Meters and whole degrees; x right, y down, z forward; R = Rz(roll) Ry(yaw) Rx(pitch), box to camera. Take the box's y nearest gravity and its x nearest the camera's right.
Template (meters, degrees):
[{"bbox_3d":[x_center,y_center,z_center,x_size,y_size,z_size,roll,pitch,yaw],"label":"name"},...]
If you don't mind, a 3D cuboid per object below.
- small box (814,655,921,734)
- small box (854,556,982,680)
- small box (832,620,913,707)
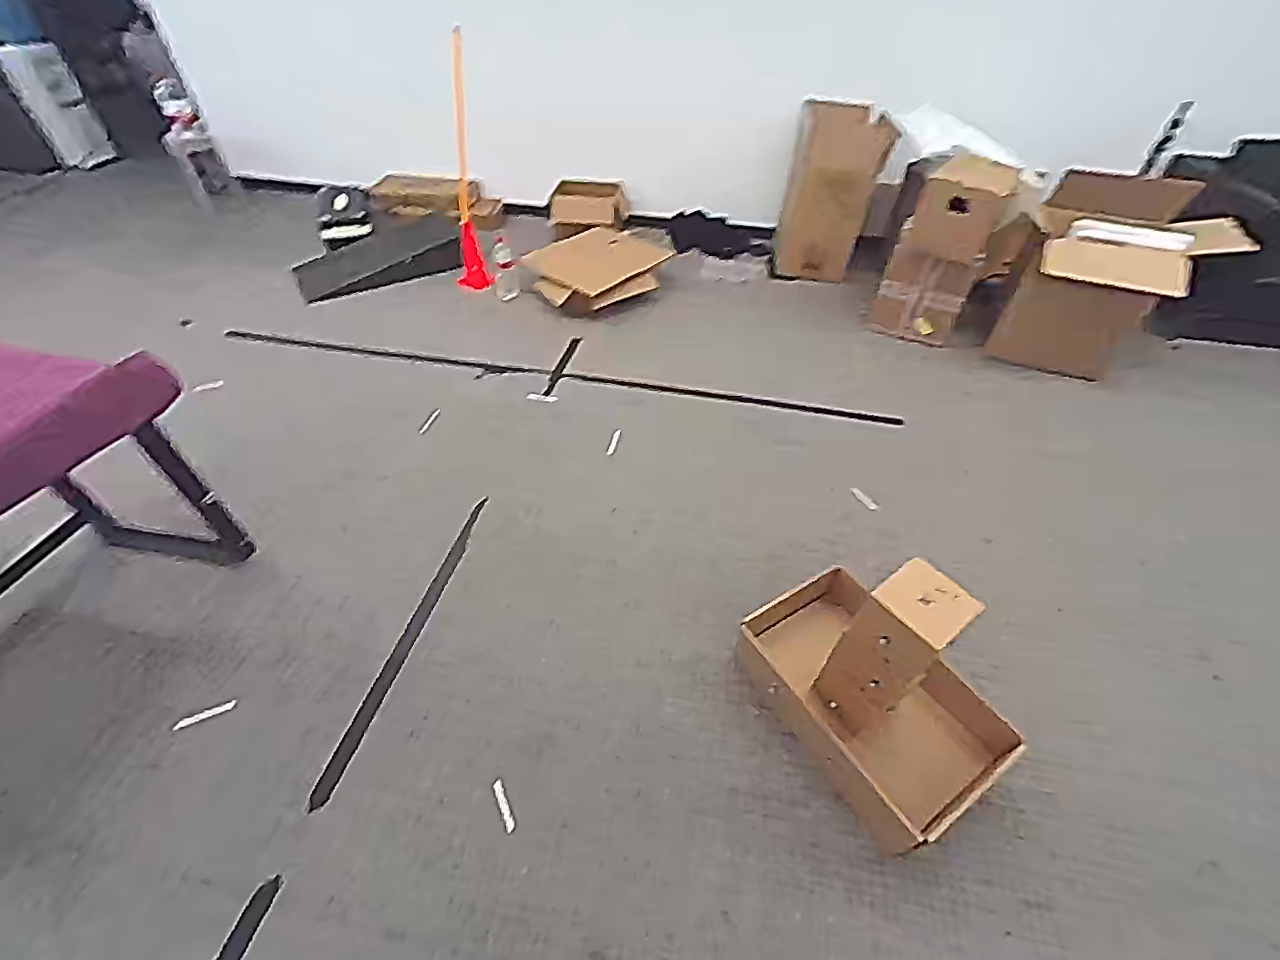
[{"bbox_3d":[0.594,0.537,1.437,0.179,0.176,0.168,-24,51,-22],"label":"small box"},{"bbox_3d":[0.604,0.309,1.202,0.179,0.176,0.168,-28,55,-25],"label":"small box"},{"bbox_3d":[0.598,0.420,1.326,0.179,0.176,0.168,-27,54,-27],"label":"small box"}]
